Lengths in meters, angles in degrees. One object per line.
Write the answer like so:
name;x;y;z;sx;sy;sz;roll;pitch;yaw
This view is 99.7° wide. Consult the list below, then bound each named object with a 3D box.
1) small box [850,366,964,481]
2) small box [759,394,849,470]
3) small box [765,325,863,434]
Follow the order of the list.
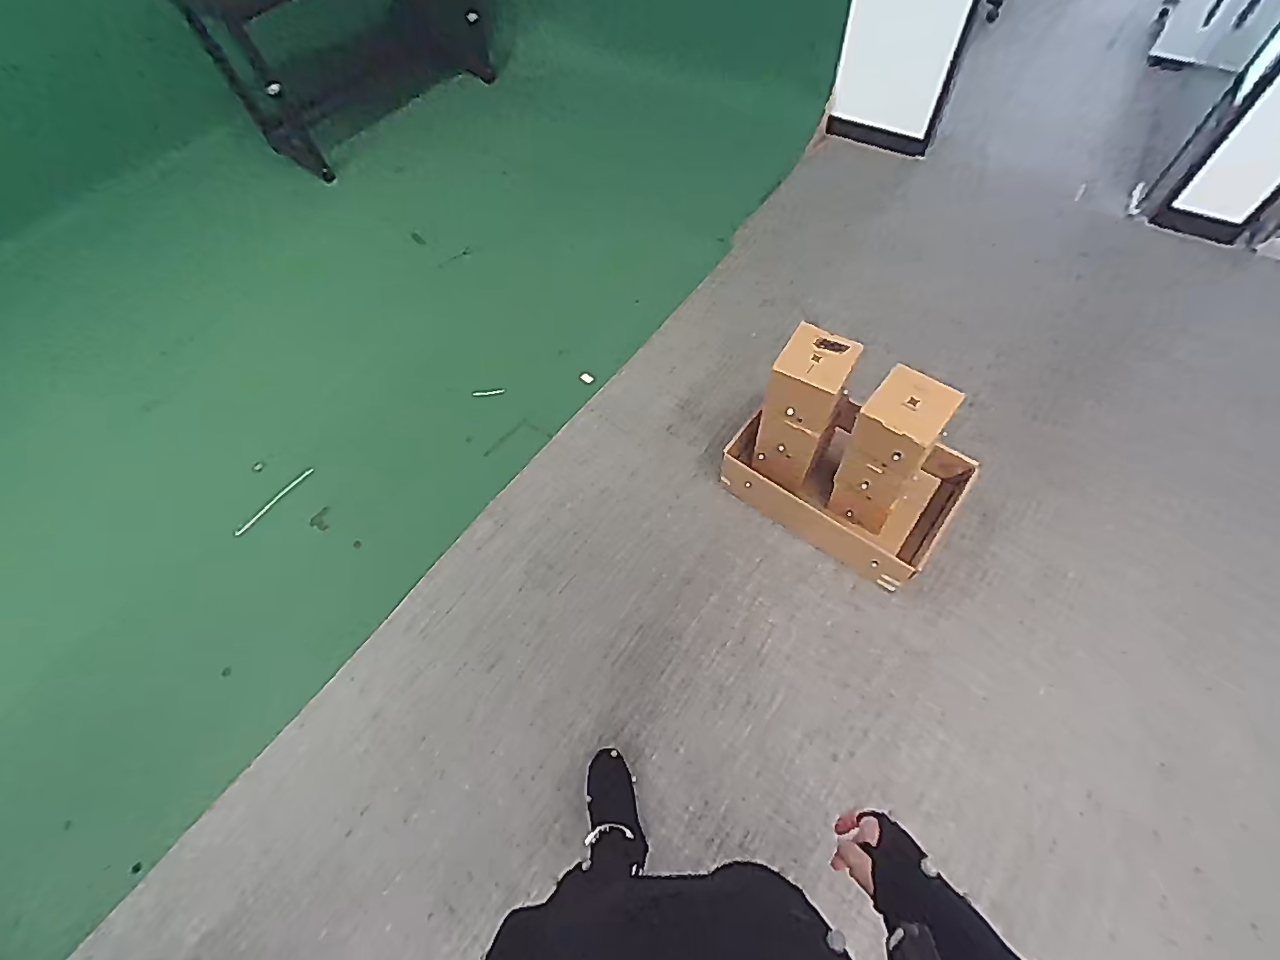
small box;0.622;-0.128;1.286;0.168;0.176;0.179;36;71;24
small box;0.448;-0.163;1.505;0.168;0.176;0.179;33;69;20
small box;0.431;-0.251;1.367;0.168;0.176;0.179;28;67;18
